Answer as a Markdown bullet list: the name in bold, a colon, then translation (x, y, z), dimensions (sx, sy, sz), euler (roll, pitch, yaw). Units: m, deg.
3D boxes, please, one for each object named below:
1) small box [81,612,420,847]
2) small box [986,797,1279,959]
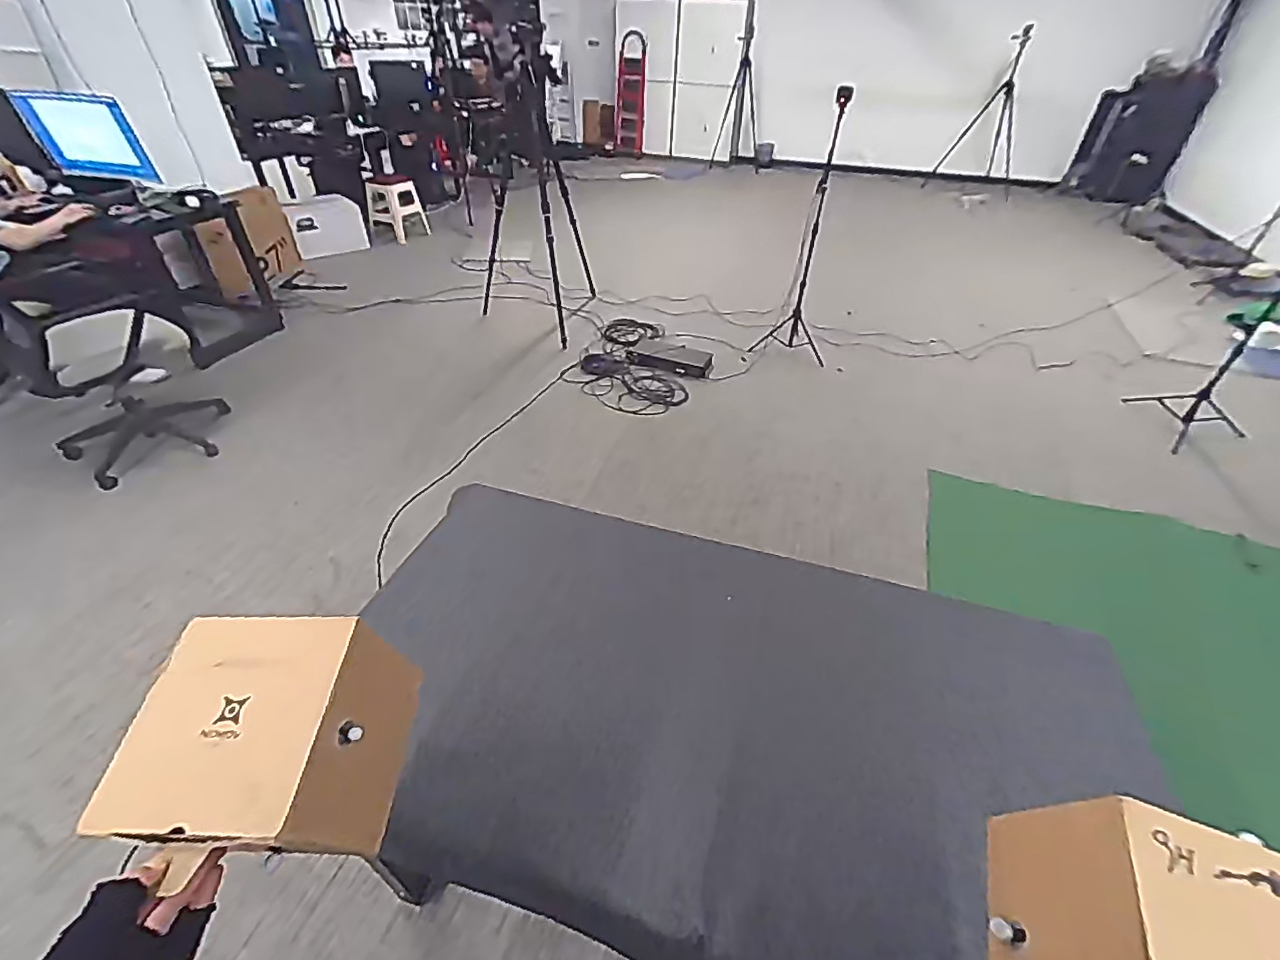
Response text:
- **small box**: translation (-0.333, 0.240, 0.514), dimensions (0.168, 0.176, 0.179), euler (-1, 53, 3)
- **small box**: translation (0.371, 0.353, 0.375), dimensions (0.168, 0.176, 0.179), euler (19, 56, 9)
